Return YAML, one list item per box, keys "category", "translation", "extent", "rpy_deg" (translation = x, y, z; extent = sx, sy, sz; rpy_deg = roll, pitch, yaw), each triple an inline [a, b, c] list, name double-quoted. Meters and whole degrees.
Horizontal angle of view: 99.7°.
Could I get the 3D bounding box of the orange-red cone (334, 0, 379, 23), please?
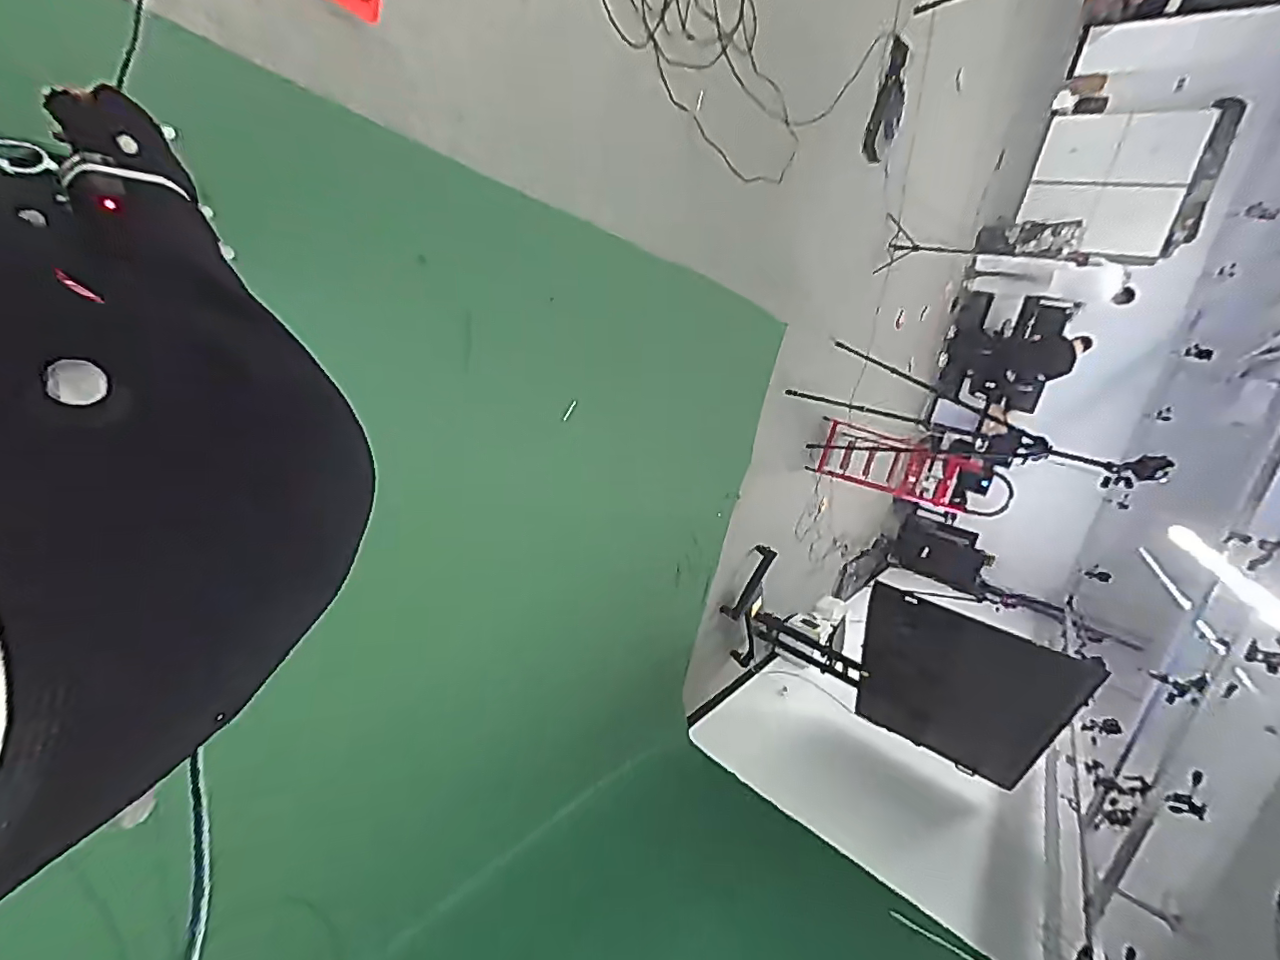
- category: "orange-red cone"
  translation: [-0.515, -1.085, 1.059]
  extent: [0.198, 0.360, 0.199]
  rpy_deg: [-5, 112, -54]
